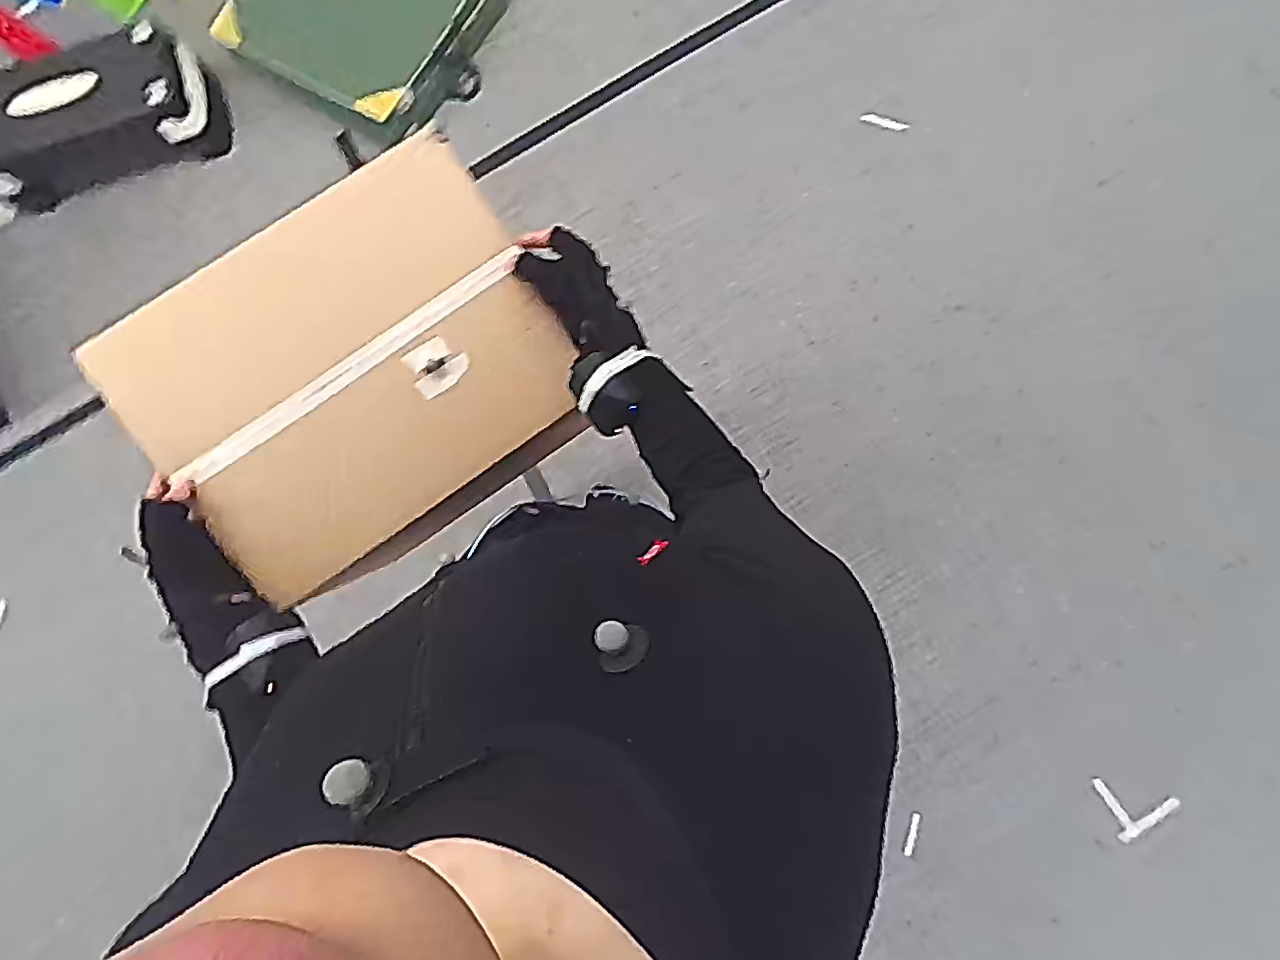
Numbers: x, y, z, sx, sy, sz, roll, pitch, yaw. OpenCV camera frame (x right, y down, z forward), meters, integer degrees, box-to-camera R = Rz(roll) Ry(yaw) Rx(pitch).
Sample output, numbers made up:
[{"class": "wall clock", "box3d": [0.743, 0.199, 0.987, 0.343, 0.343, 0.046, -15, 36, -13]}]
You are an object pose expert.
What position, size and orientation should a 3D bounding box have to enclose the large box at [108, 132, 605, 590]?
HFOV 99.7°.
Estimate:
[{"class": "large box", "box3d": [-0.296, -0.123, 0.701, 0.408, 0.320, 0.320, -36, 94, -4]}]
